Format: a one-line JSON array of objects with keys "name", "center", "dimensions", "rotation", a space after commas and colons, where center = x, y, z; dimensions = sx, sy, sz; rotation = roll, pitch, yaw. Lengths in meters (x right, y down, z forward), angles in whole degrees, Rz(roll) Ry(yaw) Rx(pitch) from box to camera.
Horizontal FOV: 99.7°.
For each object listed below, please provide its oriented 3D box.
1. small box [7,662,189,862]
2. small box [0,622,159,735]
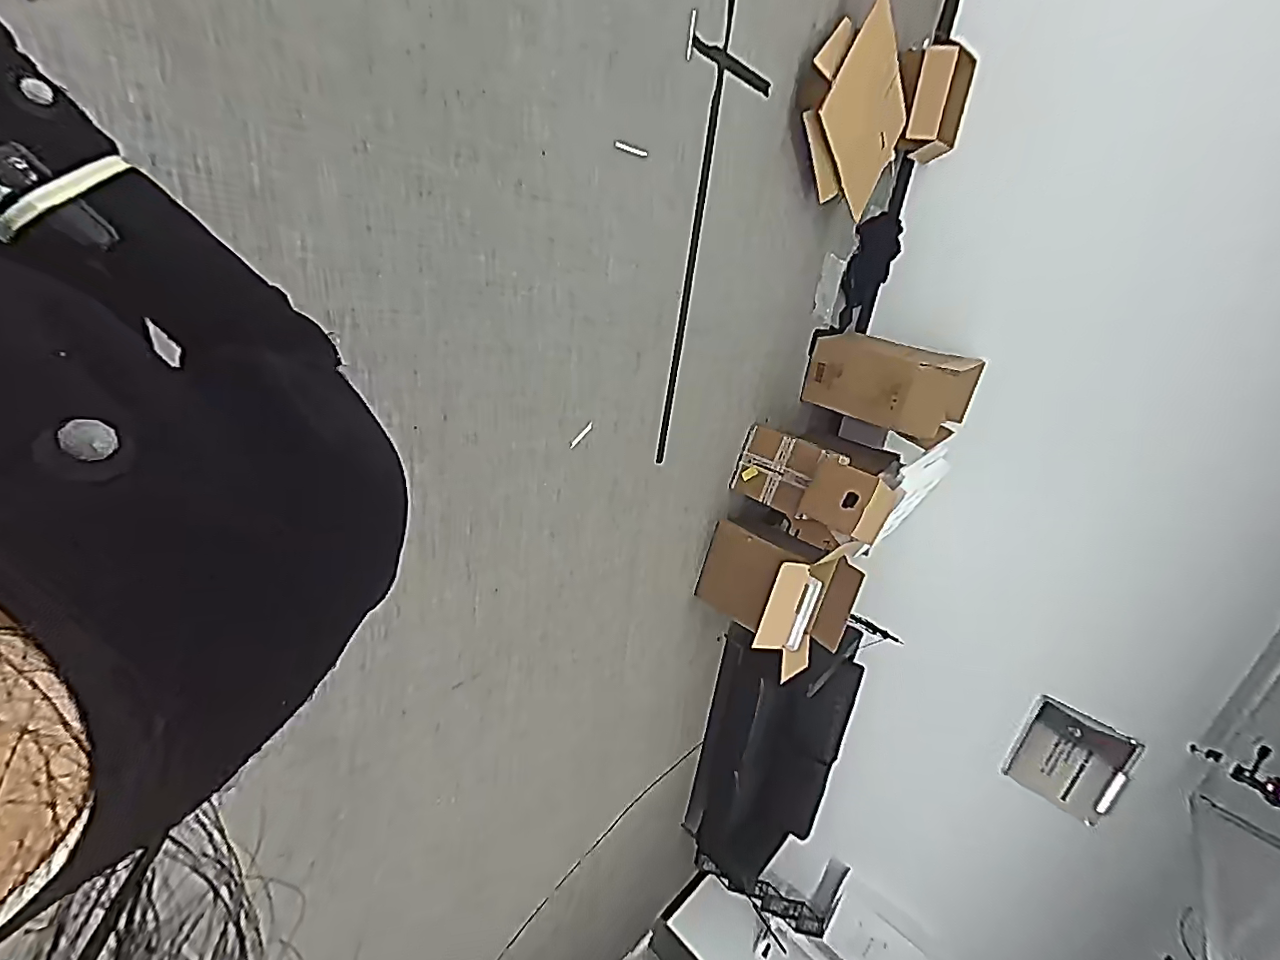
[{"name": "small box", "center": [-0.831, 0.420, 0.836], "dimensions": [0.168, 0.176, 0.179], "rotation": [-16, 120, -45]}, {"name": "small box", "center": [-0.953, 0.375, 0.934], "dimensions": [0.179, 0.176, 0.168], "rotation": [-17, 121, -44]}]
